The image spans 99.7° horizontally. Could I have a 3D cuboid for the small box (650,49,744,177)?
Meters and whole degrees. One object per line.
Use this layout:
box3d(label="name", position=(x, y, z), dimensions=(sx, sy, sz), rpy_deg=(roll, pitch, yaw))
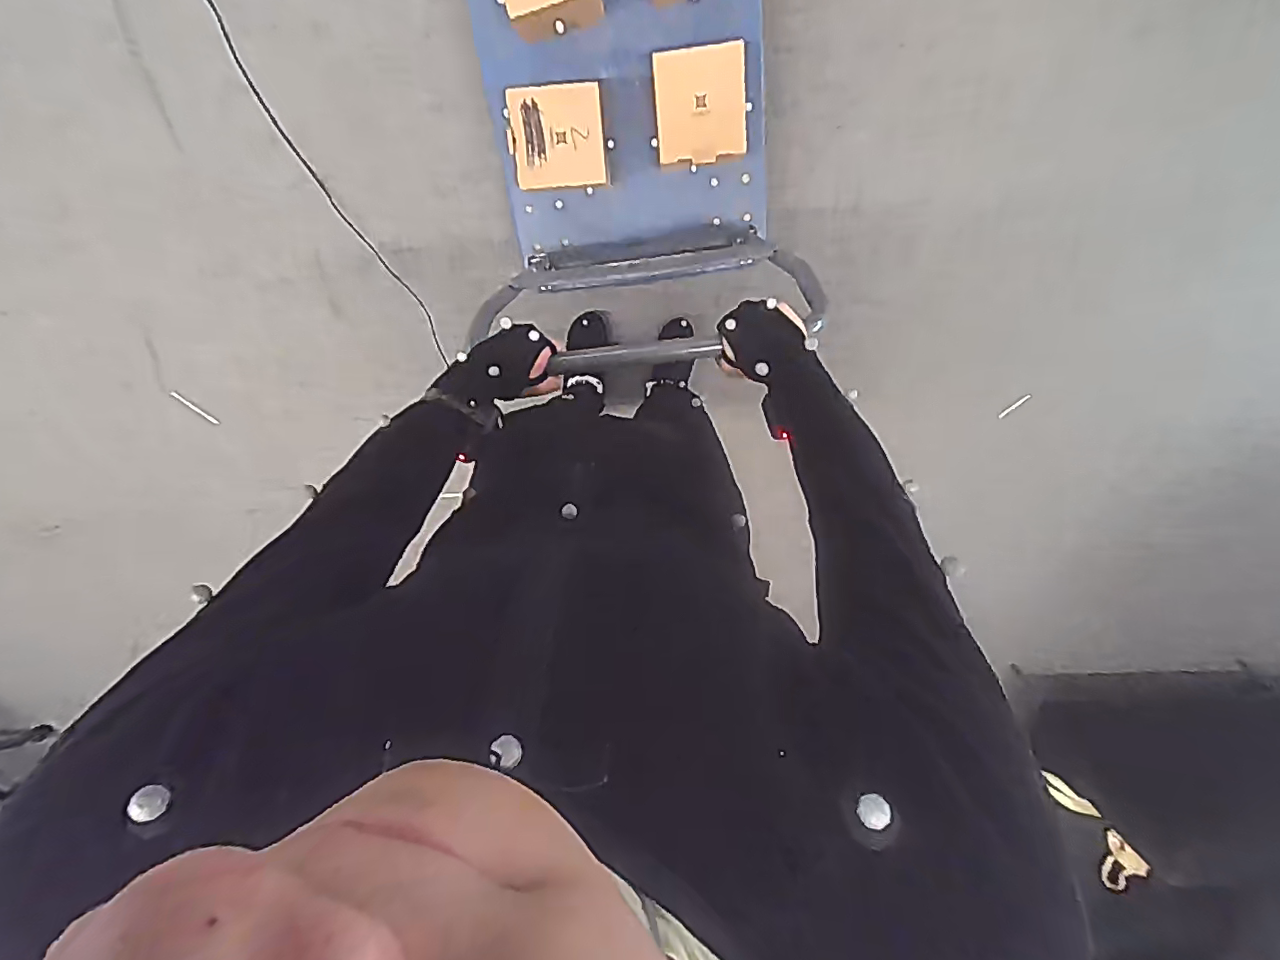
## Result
box3d(label="small box", position=(0.110, -0.721, 1.080), dimensions=(0.168, 0.176, 0.179), rpy_deg=(-6, 115, 4))

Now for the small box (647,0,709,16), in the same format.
box3d(label="small box", position=(0.078, -0.978, 0.957), dimensions=(0.168, 0.176, 0.179), rpy_deg=(-12, 115, 7))

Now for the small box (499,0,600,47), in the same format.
box3d(label="small box", position=(-0.176, -0.926, 0.984), dimensions=(0.168, 0.176, 0.179), rpy_deg=(-13, 114, 6))
